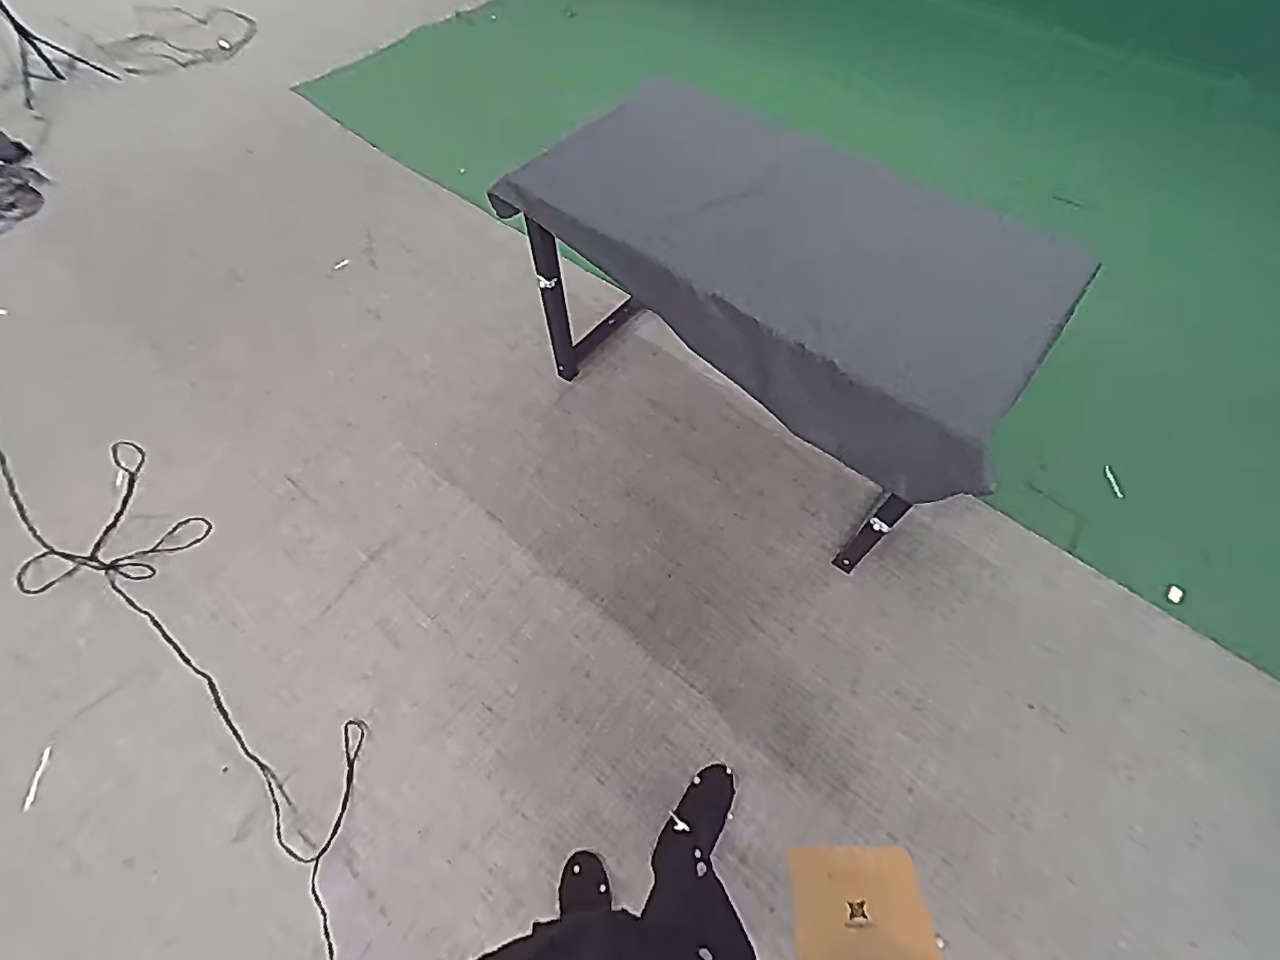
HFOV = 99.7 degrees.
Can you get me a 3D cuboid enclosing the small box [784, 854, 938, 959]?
[{"bbox_3d":[0.285,0.624,0.692,0.168,0.176,0.179,-8,15,11],"label":"small box"}]
